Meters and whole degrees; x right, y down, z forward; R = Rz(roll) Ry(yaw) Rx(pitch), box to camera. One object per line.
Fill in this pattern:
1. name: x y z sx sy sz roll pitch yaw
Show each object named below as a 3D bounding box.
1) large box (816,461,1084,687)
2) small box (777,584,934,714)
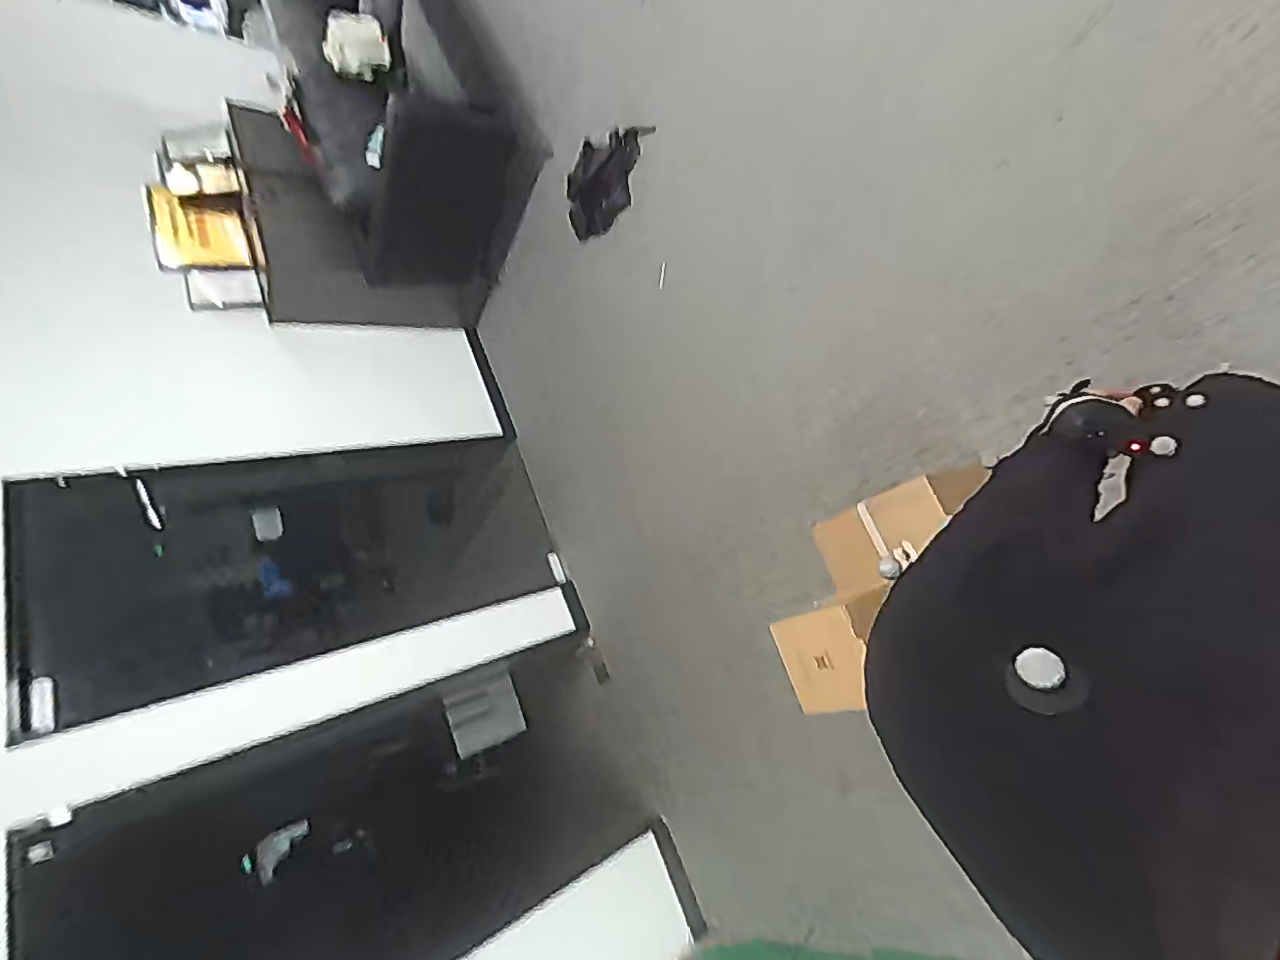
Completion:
1. large box: 0.688 0.211 1.228 0.320 0.320 0.408 -39 66 49
2. small box: 0.387 0.298 0.964 0.179 0.176 0.168 -41 63 50
